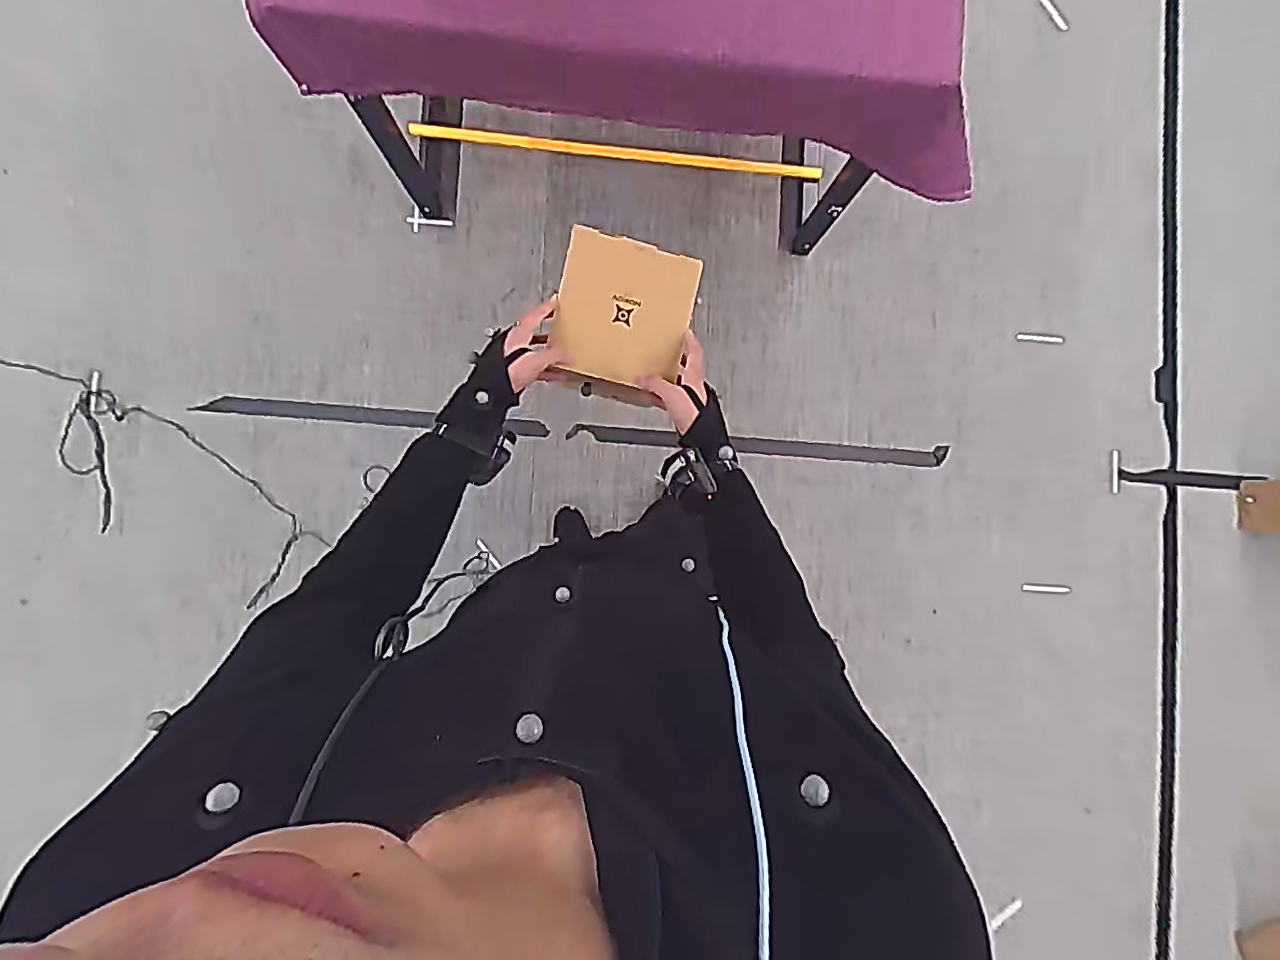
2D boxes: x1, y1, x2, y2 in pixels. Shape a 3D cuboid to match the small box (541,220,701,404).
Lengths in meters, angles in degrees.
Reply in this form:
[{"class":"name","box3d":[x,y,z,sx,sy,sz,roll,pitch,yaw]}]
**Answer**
[{"class":"small box","box3d":[-0.031,-0.209,0.731,0.168,0.176,0.179,13,89,-8]}]
